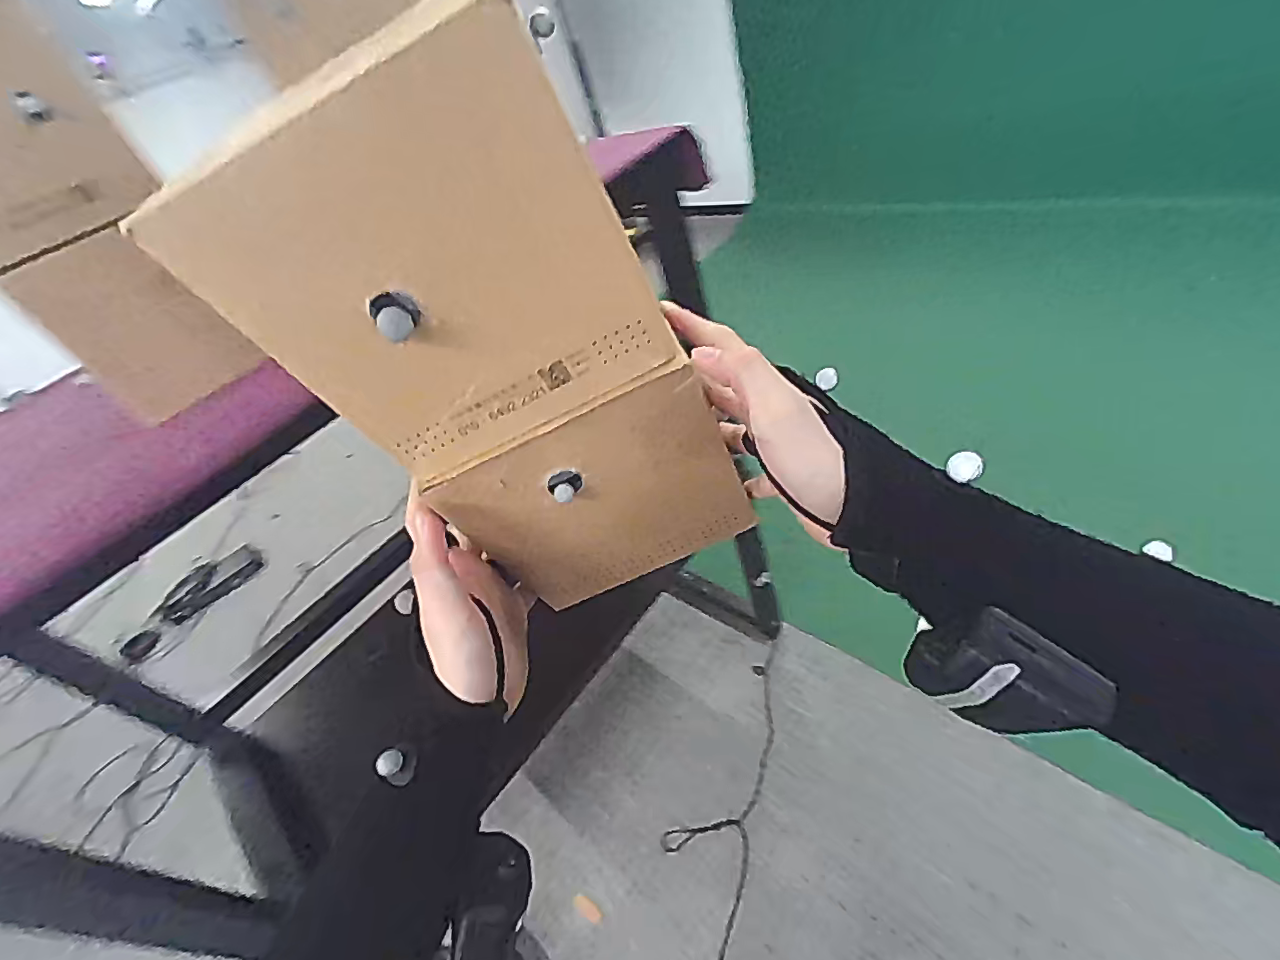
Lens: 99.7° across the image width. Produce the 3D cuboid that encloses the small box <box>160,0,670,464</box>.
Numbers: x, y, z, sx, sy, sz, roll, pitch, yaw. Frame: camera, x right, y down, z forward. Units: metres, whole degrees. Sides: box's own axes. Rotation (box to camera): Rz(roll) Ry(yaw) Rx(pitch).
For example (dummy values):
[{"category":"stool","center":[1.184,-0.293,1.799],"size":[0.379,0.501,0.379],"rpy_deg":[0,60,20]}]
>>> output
[{"category":"small box","center":[-0.098,-0.131,0.309],"size":[0.168,0.176,0.179],"rpy_deg":[-25,45,11]}]

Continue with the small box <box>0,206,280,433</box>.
[{"category":"small box","center":[-0.534,-0.181,0.601],"size":[0.168,0.176,0.179],"rpy_deg":[21,57,40]}]

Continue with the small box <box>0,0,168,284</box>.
[{"category":"small box","center":[-0.588,-0.295,0.498],"size":[0.179,0.176,0.168],"rpy_deg":[21,56,41]}]
